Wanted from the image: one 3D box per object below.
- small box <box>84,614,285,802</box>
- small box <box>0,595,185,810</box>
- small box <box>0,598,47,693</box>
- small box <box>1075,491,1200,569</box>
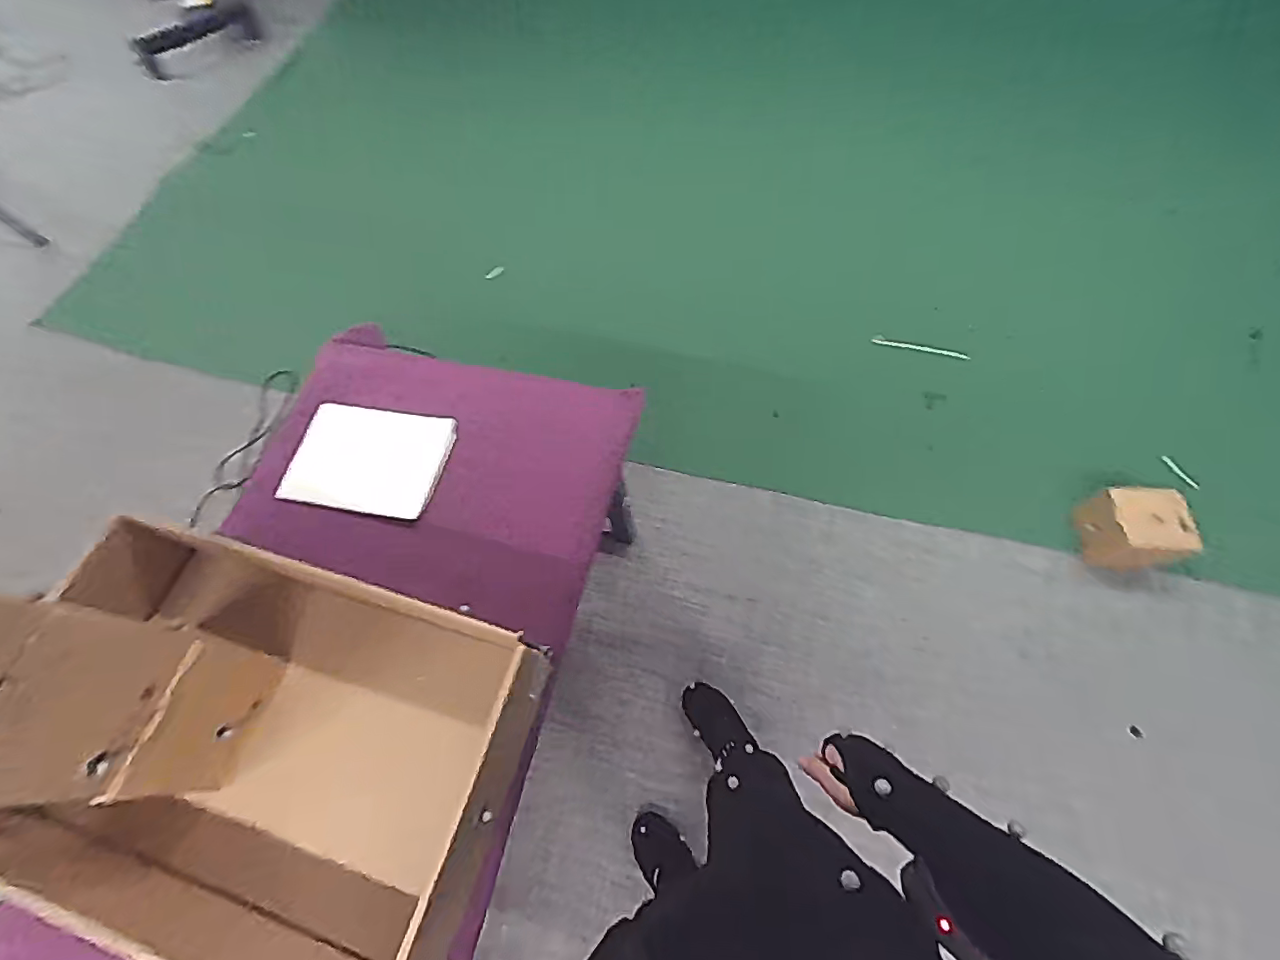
[{"bbox_3d":[-0.608,0.286,0.680,0.179,0.176,0.168,12,65,8],"label":"small box"},{"bbox_3d":[-0.622,0.212,0.535,0.179,0.176,0.168,11,64,9],"label":"small box"},{"bbox_3d":[-0.628,0.138,0.389,0.179,0.176,0.168,12,65,7],"label":"small box"},{"bbox_3d":[1.332,0.139,1.470,0.179,0.176,0.168,2,64,5],"label":"small box"}]
